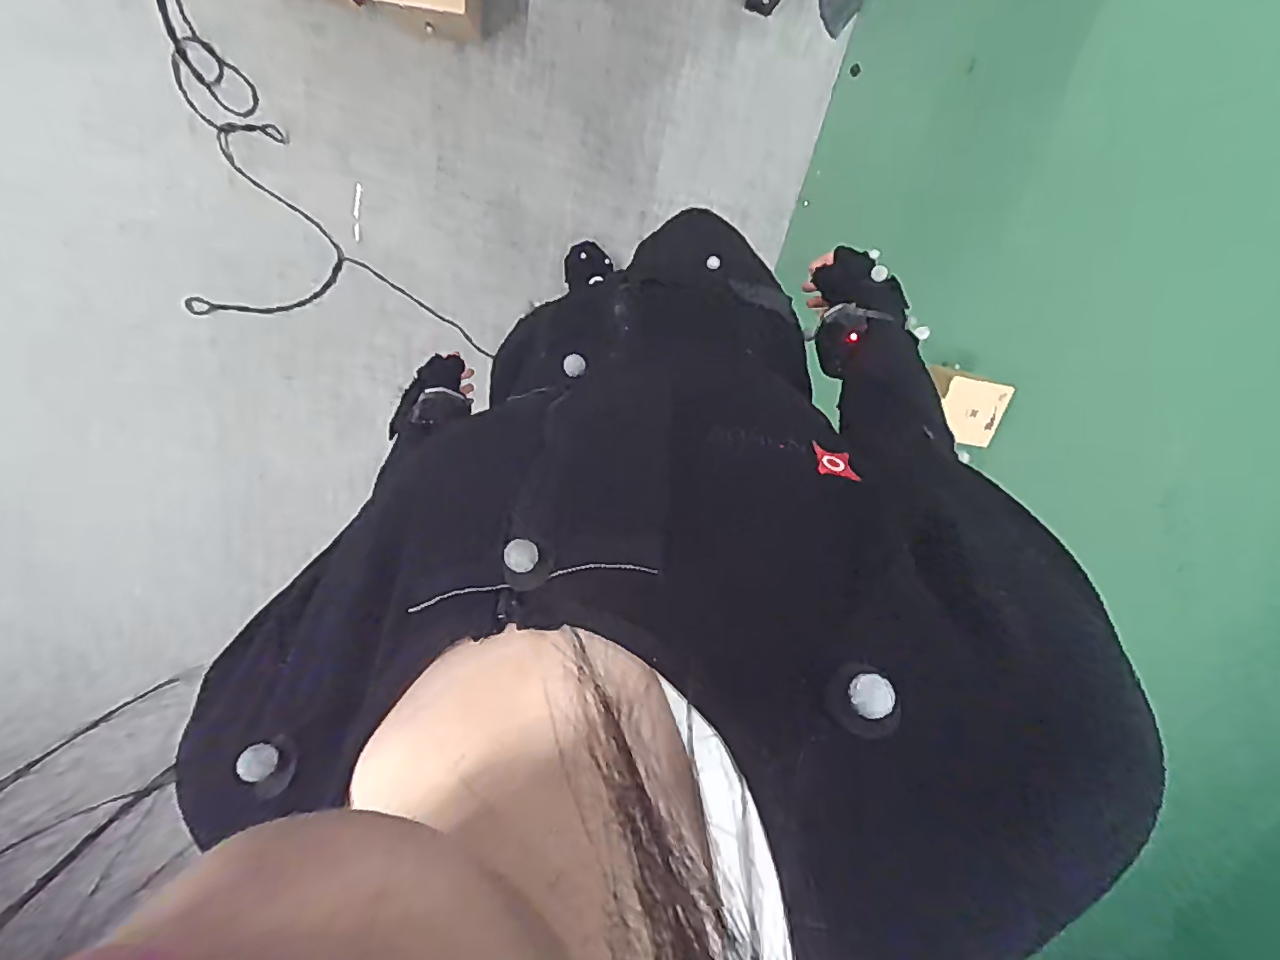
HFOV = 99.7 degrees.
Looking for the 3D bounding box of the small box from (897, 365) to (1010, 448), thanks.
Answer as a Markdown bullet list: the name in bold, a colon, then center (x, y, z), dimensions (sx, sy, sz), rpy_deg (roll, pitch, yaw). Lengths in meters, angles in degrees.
- **small box**: center (0.829, -0.202, 1.454), dimensions (0.179, 0.176, 0.168), rpy_deg (10, 113, -8)
